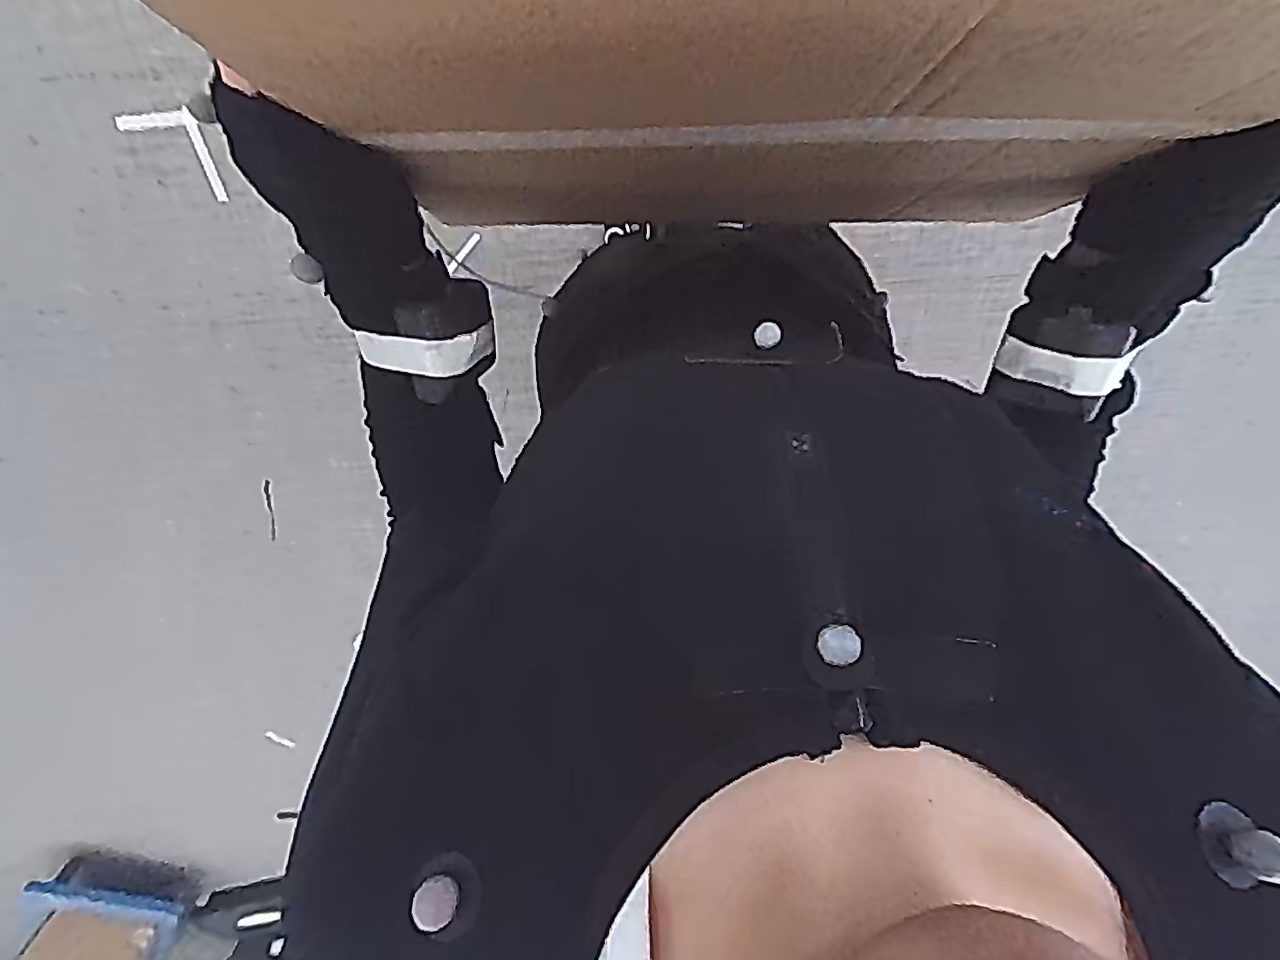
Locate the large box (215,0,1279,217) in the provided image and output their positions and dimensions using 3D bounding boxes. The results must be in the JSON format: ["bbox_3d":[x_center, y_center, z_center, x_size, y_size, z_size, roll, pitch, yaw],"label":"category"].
[{"bbox_3d":[0.065,-0.308,0.206,0.408,0.320,0.320,-1,102,0],"label":"large box"}]
